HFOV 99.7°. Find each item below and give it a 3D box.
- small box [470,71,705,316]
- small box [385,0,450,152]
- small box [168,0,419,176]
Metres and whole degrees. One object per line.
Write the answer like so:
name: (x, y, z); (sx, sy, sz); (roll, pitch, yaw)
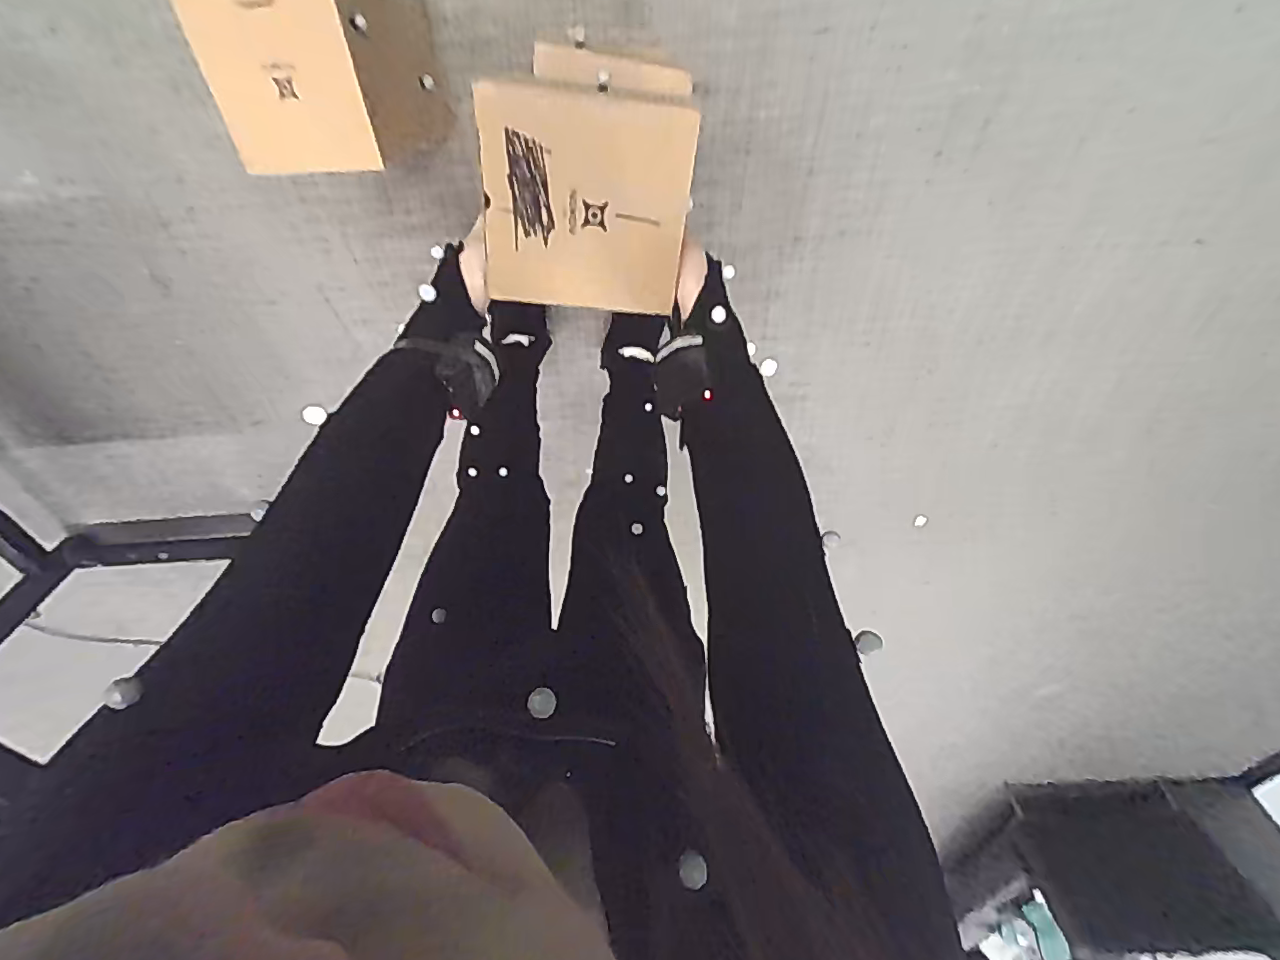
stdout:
small box: (-0.046, -0.271, 0.506); (0.179, 0.176, 0.168); (4, 129, -5)
small box: (-0.387, -0.580, 0.768); (0.168, 0.176, 0.179); (-4, 132, 2)
small box: (-0.384, -0.479, 0.640); (0.168, 0.176, 0.179); (-3, 129, 1)
